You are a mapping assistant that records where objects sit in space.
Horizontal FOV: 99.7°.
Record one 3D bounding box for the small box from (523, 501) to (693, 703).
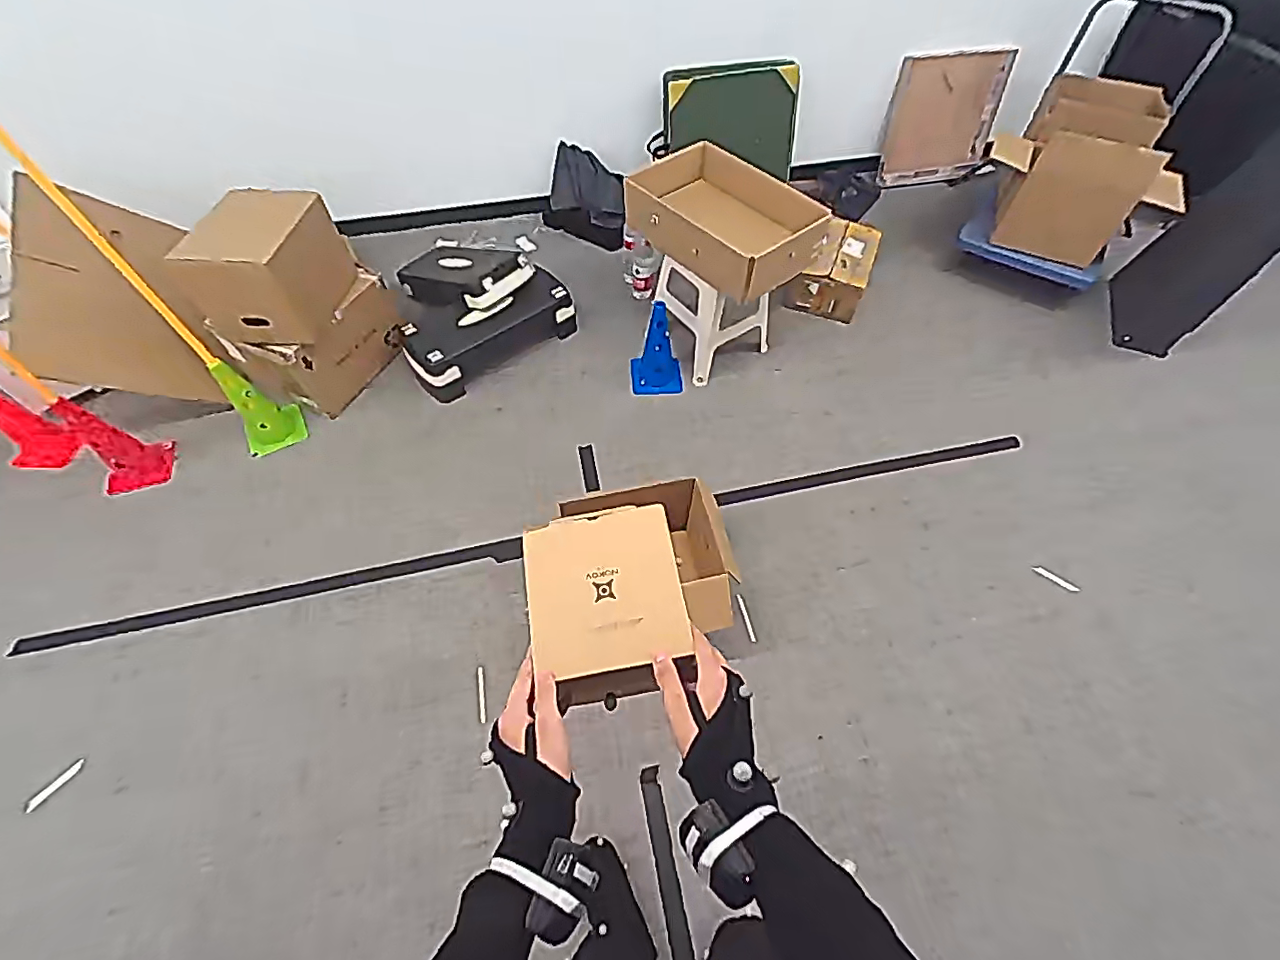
[{"bbox_3d":[-0.038,0.149,0.641,0.168,0.176,0.179,-10,60,-2],"label":"small box"}]
